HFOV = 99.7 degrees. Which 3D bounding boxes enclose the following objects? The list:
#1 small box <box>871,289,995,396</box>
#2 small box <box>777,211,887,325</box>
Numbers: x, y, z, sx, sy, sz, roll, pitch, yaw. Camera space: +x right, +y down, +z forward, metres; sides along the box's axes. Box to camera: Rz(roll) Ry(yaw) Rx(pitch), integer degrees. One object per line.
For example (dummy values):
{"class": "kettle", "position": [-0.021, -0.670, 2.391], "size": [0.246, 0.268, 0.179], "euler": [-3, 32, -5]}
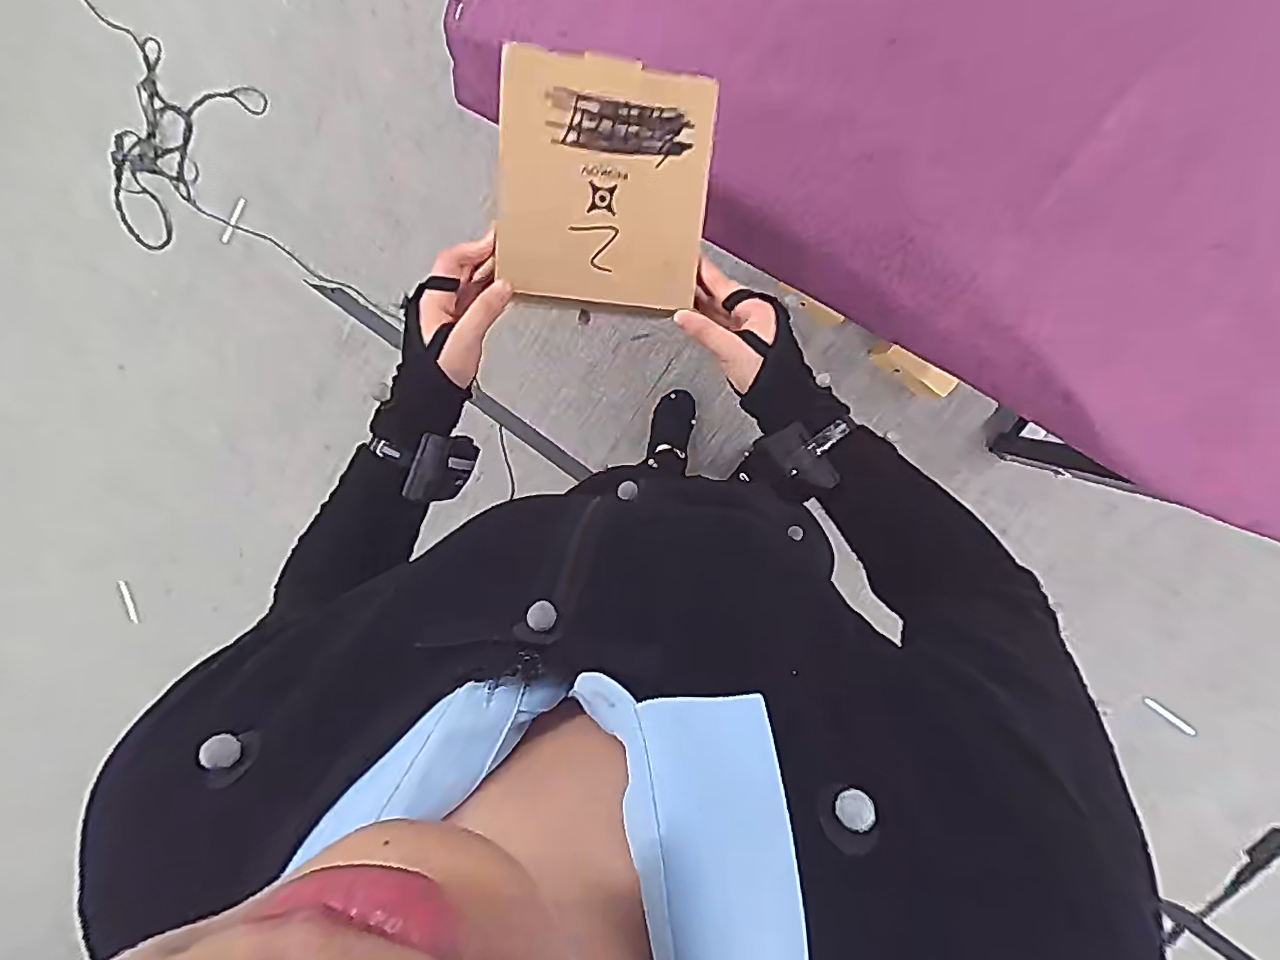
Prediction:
{"class": "small box", "position": [0.672, -0.314, 1.272], "size": [0.168, 0.176, 0.179], "euler": [38, 102, 1]}
{"class": "small box", "position": [0.439, -0.486, 1.273], "size": [0.168, 0.176, 0.179], "euler": [35, 102, 0]}
